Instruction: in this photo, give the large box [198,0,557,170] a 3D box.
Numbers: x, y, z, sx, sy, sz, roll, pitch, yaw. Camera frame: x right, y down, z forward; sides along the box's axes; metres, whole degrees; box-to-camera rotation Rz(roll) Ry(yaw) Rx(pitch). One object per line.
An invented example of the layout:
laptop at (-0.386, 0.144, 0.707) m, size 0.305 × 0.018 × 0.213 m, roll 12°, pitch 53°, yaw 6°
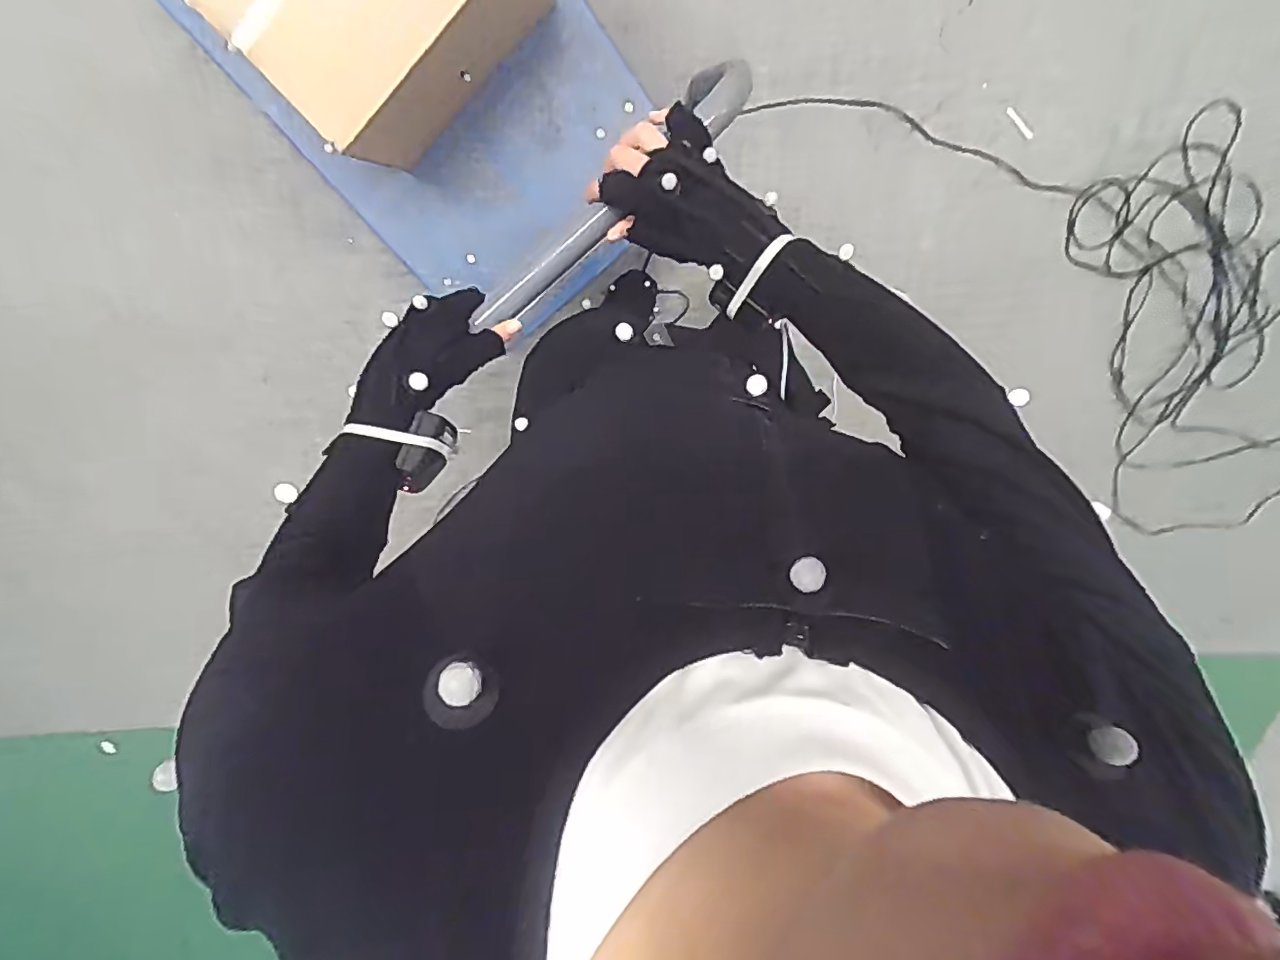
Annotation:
large box at (-0.375, -0.753, 0.814) m, size 0.408 × 0.320 × 0.320 m, roll -40°, pitch 111°, yaw 15°
